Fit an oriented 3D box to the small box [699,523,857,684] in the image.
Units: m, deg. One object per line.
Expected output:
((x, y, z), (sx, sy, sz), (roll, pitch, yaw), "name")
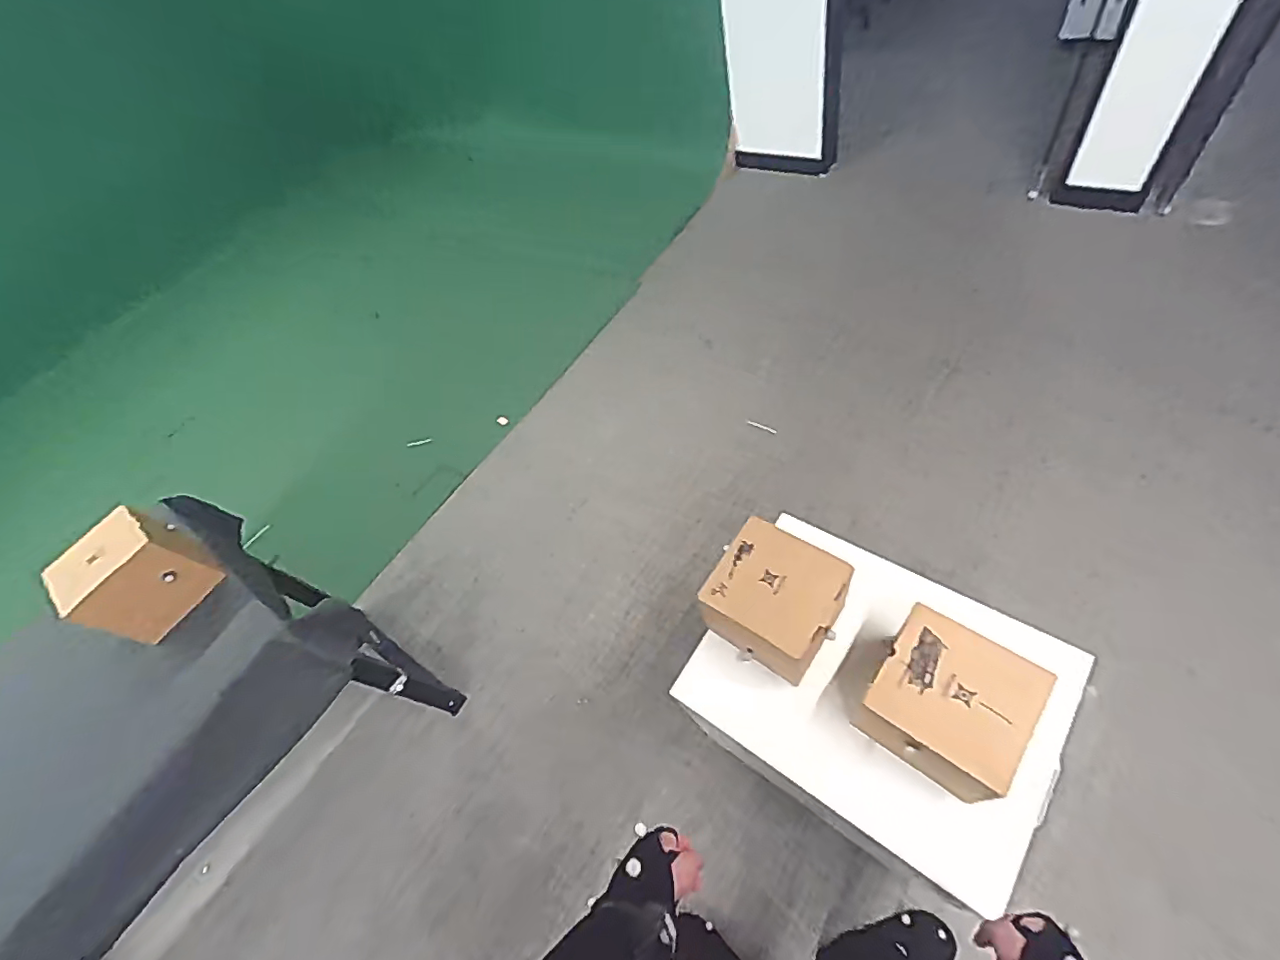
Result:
((0.218, 0.203, 0.862), (0.179, 0.176, 0.168), (28, 69, 28), "small box")

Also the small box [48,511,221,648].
((-0.973, 0.197, 1.060), (0.168, 0.176, 0.179), (27, 70, 31), "small box")

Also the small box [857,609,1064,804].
((0.415, 0.311, 0.732), (0.179, 0.176, 0.168), (29, 70, 30), "small box")
